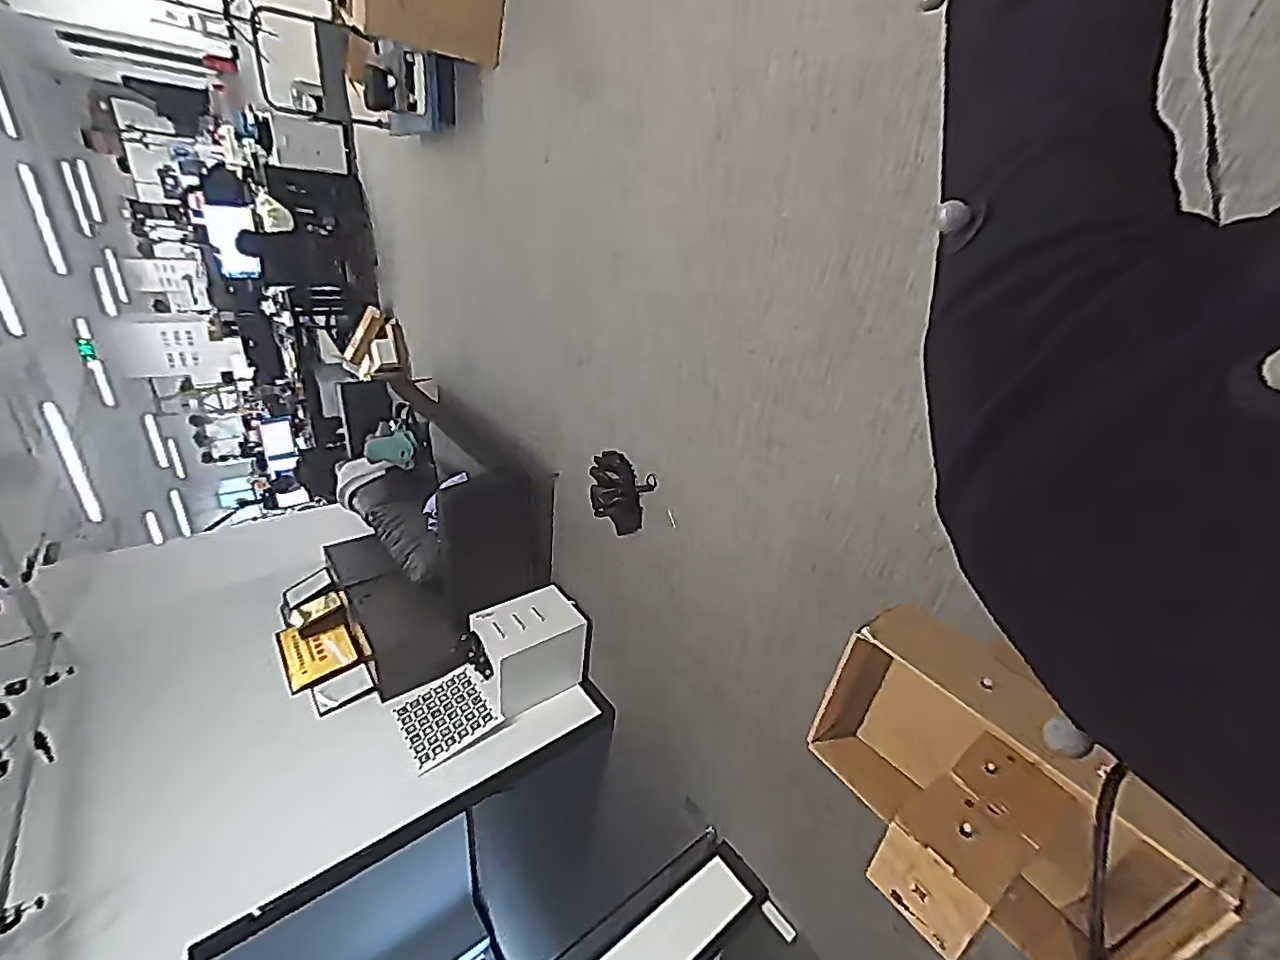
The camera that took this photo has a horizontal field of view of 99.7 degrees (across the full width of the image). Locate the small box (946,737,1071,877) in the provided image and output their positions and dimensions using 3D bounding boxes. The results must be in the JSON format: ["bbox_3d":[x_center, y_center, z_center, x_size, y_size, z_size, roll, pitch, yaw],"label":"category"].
[{"bbox_3d":[0.680,0.637,1.037,0.168,0.176,0.179,38,133,43],"label":"small box"}]

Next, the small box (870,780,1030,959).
[{"bbox_3d":[0.545,0.676,0.952,0.168,0.176,0.179,36,129,45],"label":"small box"}]
